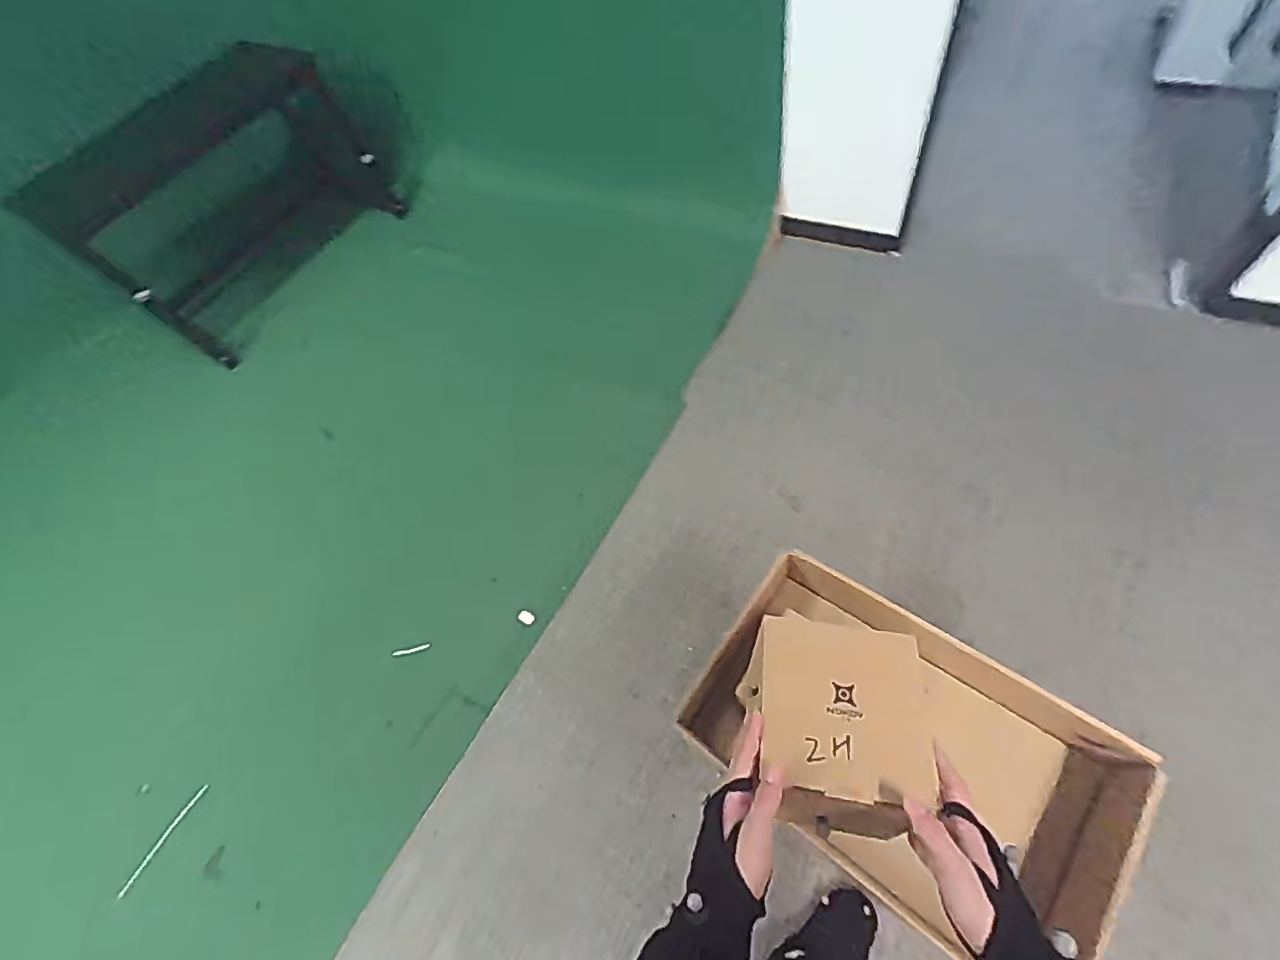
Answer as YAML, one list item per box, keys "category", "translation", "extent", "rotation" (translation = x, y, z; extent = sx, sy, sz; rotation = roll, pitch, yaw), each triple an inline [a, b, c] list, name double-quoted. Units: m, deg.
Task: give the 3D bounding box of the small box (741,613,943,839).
- category: "small box"
  translation: [0.206, 0.275, 0.603]
  extent: [0.168, 0.176, 0.179]
  rotation: [6, 51, 8]
